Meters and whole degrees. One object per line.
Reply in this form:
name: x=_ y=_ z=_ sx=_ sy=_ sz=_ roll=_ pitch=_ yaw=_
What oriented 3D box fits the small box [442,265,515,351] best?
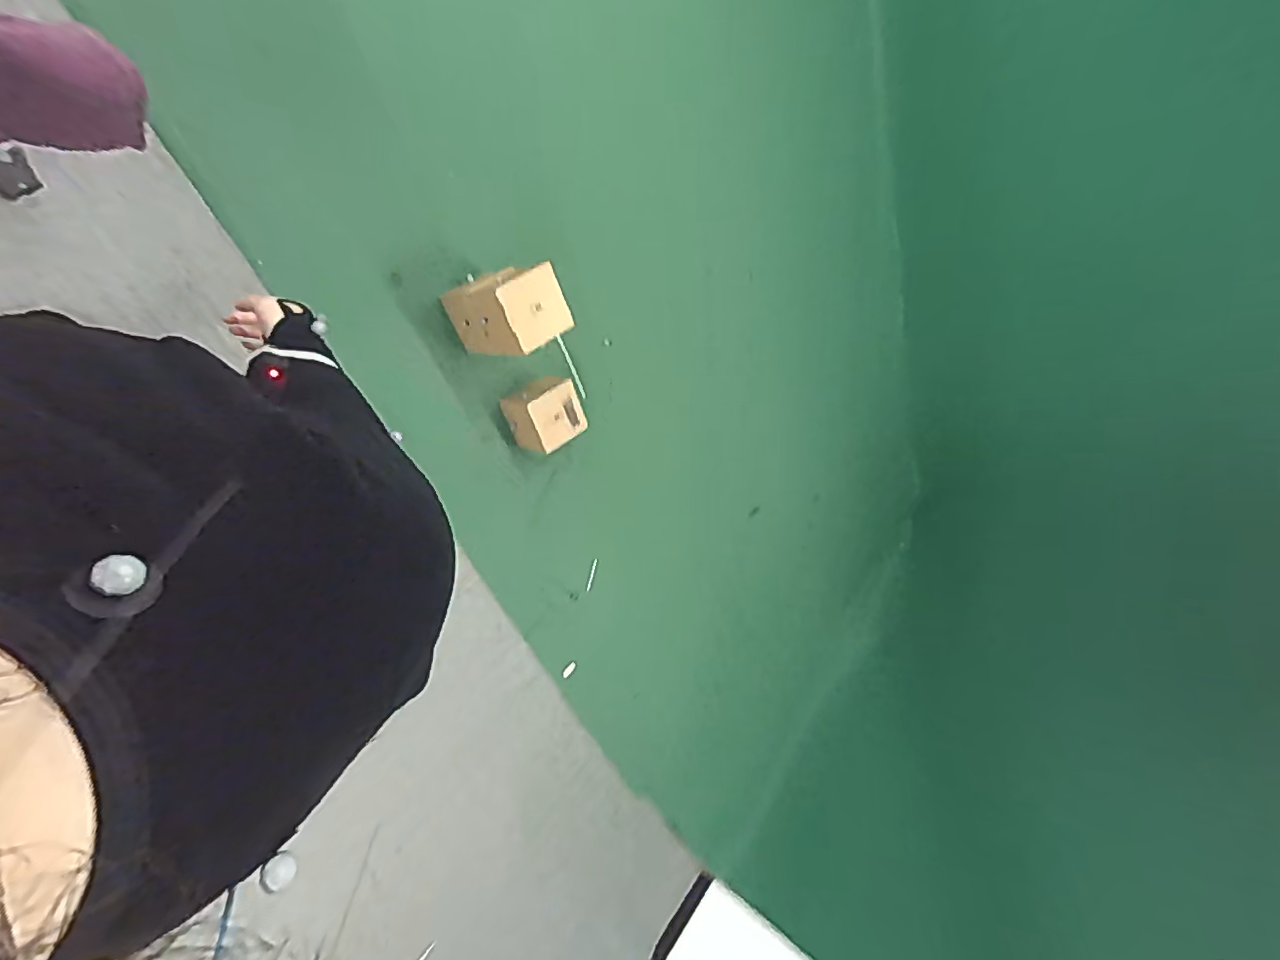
small box: x=-0.416 y=-0.478 z=1.509 sx=0.168 sy=0.176 sz=0.179 roll=-42 pitch=124 yaw=-29

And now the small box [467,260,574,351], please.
small box: x=-0.307 y=-0.447 z=1.391 sx=0.179 sy=0.176 sz=0.168 roll=-41 pitch=125 yaw=-28
